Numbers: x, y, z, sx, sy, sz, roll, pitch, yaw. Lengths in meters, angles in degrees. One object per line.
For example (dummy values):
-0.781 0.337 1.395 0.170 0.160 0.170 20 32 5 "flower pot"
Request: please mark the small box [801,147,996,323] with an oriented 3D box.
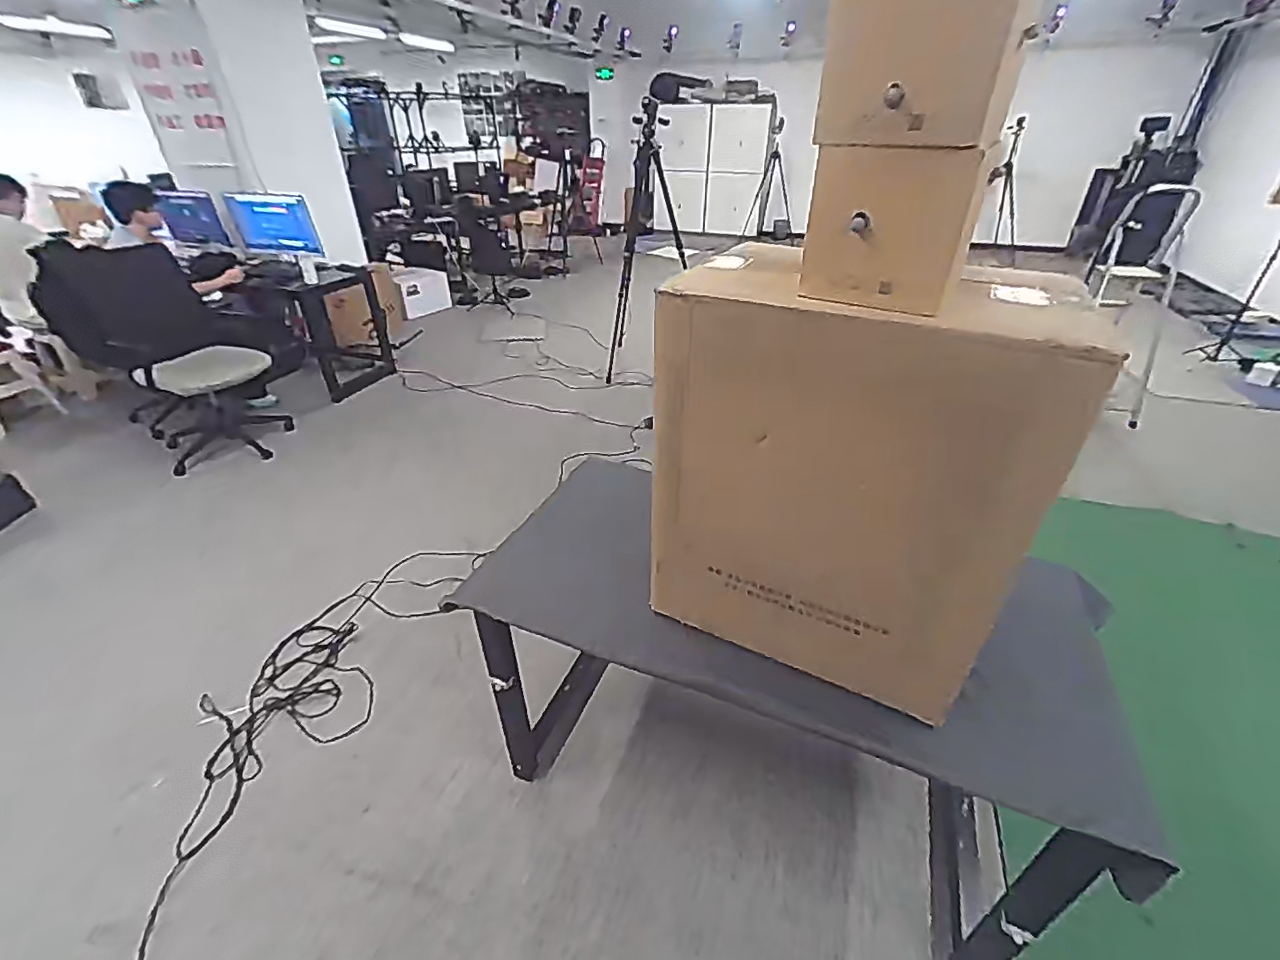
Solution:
0.307 -0.303 0.662 0.168 0.176 0.179 20 39 27 "small box"
